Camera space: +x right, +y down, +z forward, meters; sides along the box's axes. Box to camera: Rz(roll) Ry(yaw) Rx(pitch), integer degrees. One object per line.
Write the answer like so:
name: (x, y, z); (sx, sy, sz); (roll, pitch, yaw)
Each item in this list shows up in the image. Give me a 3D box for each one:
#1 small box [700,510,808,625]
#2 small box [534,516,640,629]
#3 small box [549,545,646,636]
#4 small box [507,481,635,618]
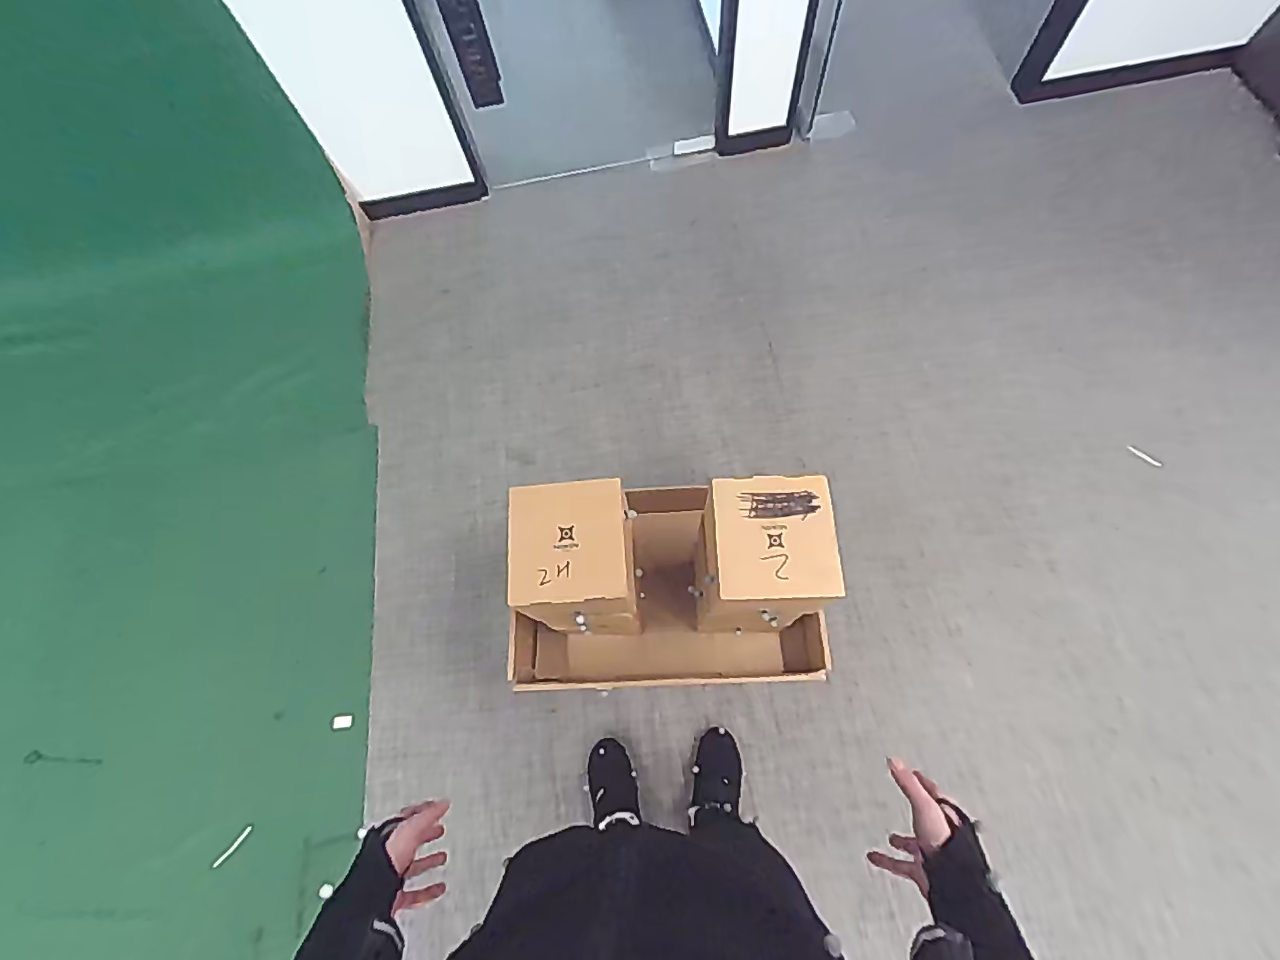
small box: (0.194, 0.163, 0.968); (0.168, 0.176, 0.179); (-1, 67, 3)
small box: (-0.089, 0.173, 0.990); (0.168, 0.176, 0.179); (-1, 69, 4)
small box: (-0.081, 0.236, 1.141); (0.179, 0.176, 0.168); (0, 68, 4)
small box: (-0.097, 0.113, 0.838); (0.168, 0.176, 0.179); (-3, 69, 3)
